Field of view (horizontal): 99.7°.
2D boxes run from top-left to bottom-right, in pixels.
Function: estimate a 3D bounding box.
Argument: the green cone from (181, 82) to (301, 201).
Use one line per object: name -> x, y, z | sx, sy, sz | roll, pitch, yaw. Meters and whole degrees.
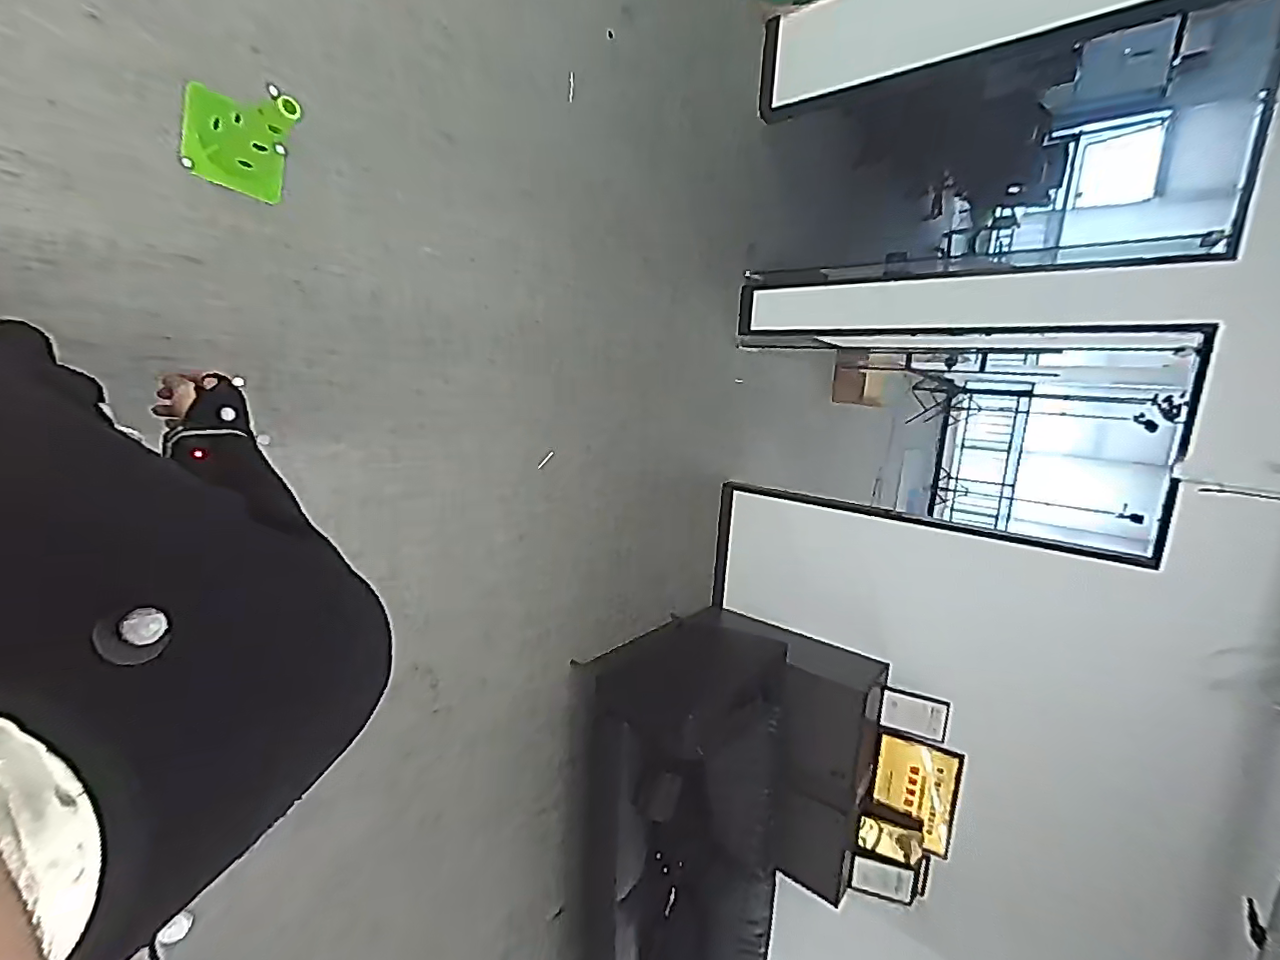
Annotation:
green cone -> -0.835, -0.779, 1.191 | 0.200, 0.368, 0.202 | 1, 97, -52
